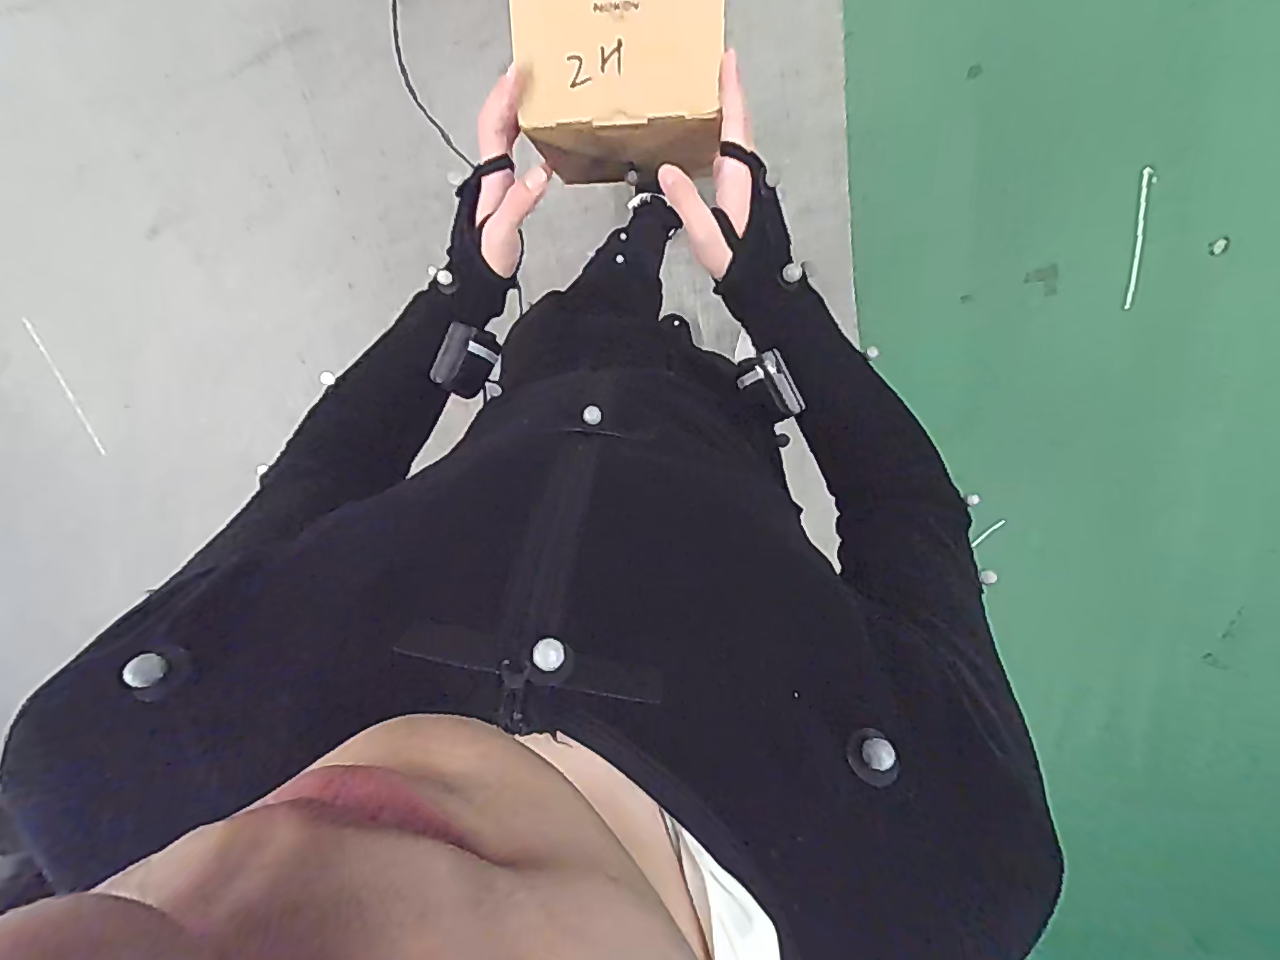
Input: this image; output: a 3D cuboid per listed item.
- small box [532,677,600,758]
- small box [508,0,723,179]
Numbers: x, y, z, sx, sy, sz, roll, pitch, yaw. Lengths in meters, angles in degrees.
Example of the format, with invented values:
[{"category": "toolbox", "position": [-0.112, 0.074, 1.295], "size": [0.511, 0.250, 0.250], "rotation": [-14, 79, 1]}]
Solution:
[{"category": "small box", "position": [-0.225, 0.736, 1.689], "size": [0.168, 0.176, 0.179], "rotation": [-4, 109, 8]}, {"category": "small box", "position": [-0.013, -0.391, 0.482], "size": [0.168, 0.176, 0.179], "rotation": [1, 104, 6]}]
